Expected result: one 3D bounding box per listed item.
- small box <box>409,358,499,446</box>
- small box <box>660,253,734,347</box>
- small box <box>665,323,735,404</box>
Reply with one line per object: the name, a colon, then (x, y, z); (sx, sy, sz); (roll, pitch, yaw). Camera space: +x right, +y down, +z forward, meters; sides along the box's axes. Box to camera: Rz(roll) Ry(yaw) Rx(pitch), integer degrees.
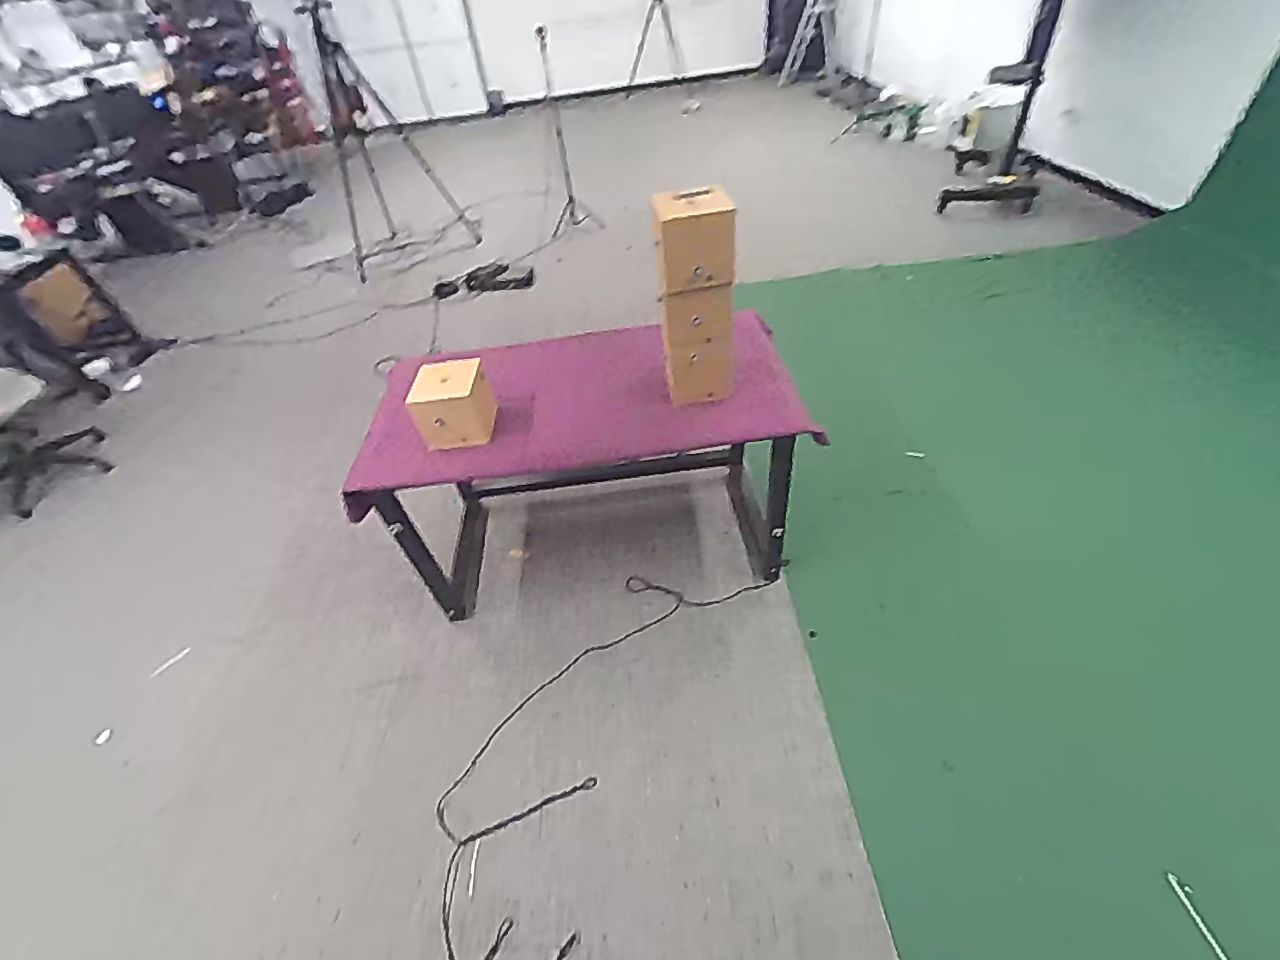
small box: (-0.494, -0.205, 1.464); (0.168, 0.176, 0.179); (-7, 43, 2)
small box: (0.145, -0.452, 1.376); (0.168, 0.176, 0.179); (-7, 43, 2)
small box: (0.165, -0.333, 1.489); (0.168, 0.176, 0.179); (-9, 43, 2)
